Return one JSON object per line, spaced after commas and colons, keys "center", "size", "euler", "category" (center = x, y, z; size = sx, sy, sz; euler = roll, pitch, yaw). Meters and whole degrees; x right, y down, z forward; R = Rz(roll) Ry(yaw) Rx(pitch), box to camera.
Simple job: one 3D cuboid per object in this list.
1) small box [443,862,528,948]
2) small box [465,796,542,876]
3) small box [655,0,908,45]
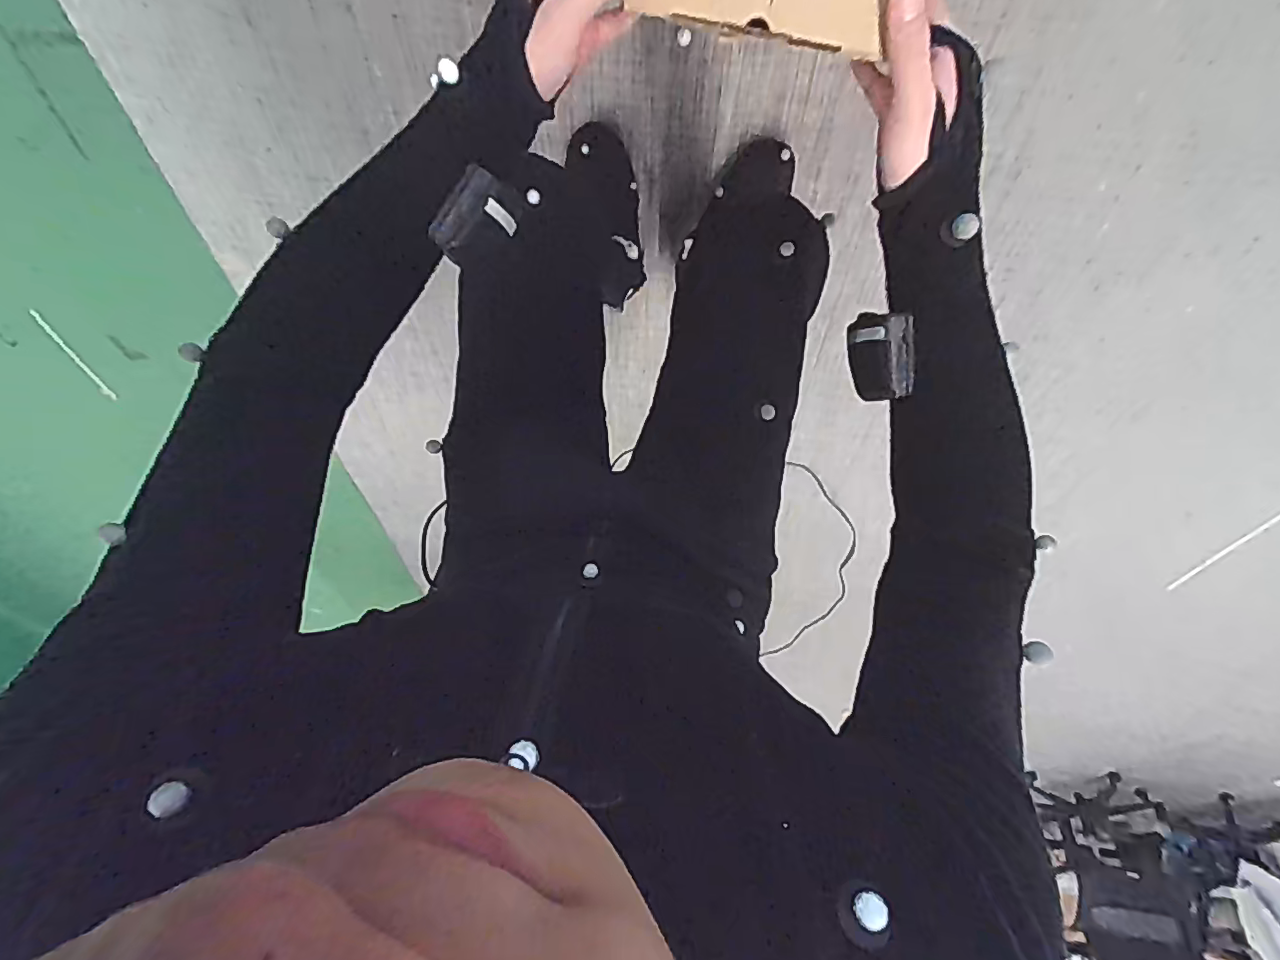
{"center": [-0.432, 1.216, 1.552], "size": [0.168, 0.176, 0.179], "euler": [3, 141, 7], "category": "small box"}
{"center": [-0.409, 1.090, 1.656], "size": [0.168, 0.176, 0.179], "euler": [4, 140, 7], "category": "small box"}
{"center": [0.092, -0.386, 0.322], "size": [0.168, 0.176, 0.179], "euler": [11, 129, -1], "category": "small box"}
